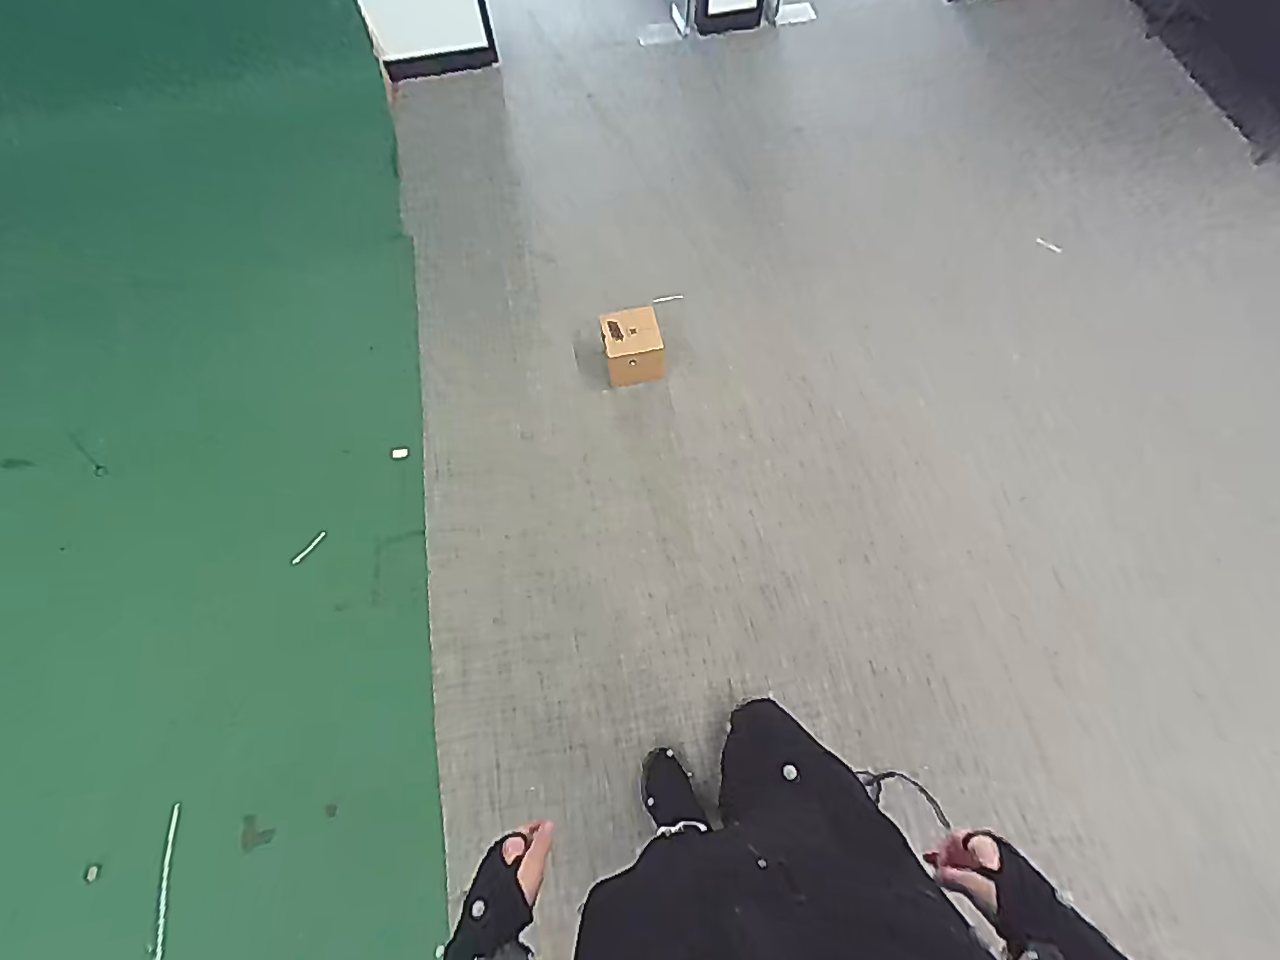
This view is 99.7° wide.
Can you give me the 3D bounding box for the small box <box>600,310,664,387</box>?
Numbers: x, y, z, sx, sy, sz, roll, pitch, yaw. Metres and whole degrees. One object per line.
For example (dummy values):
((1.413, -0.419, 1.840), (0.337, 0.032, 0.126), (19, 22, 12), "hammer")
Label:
((-0.026, -0.418, 1.747), (0.179, 0.176, 0.168), (-11, 68, -5), "small box")
